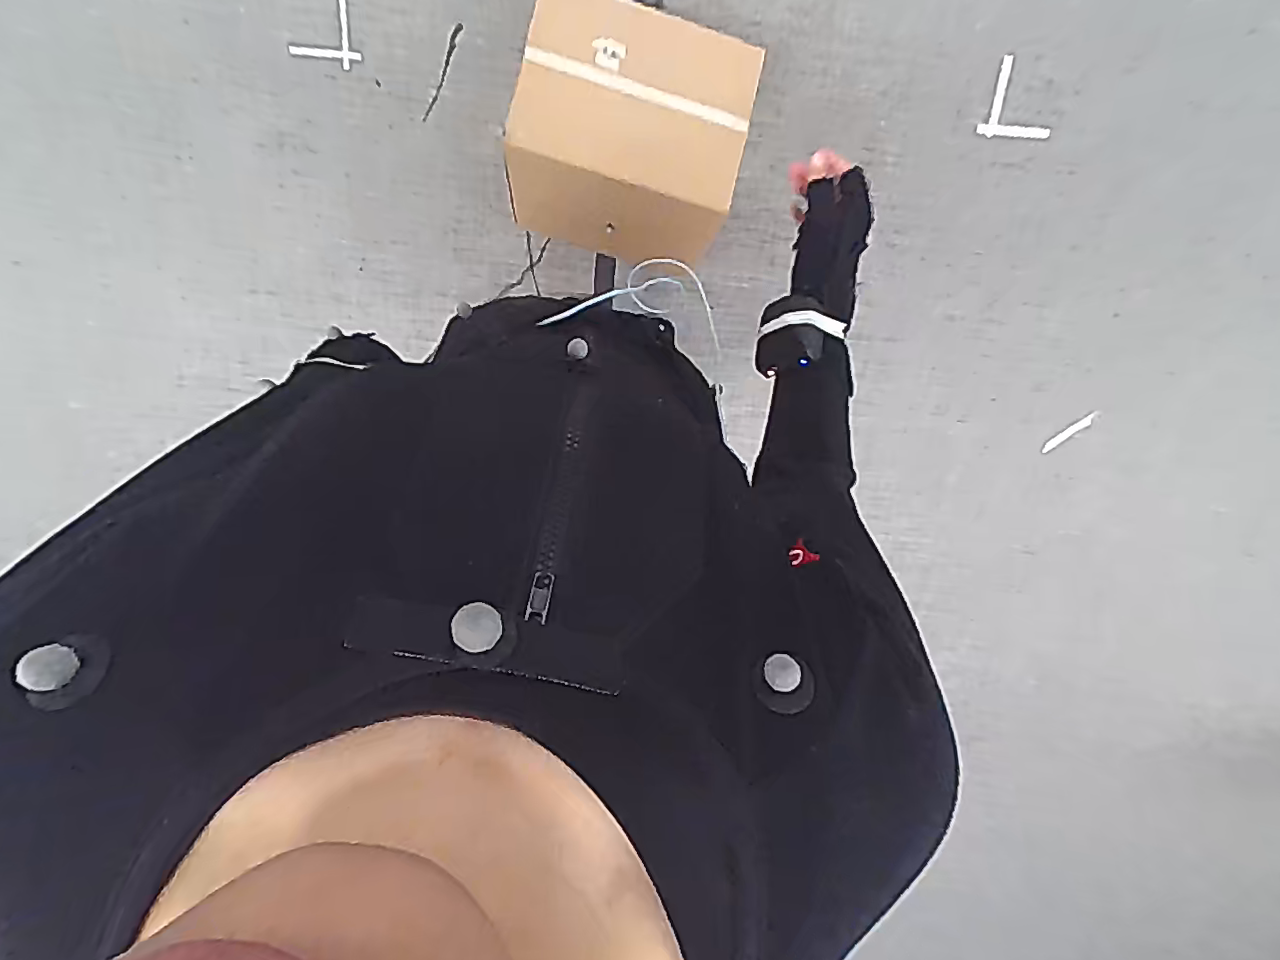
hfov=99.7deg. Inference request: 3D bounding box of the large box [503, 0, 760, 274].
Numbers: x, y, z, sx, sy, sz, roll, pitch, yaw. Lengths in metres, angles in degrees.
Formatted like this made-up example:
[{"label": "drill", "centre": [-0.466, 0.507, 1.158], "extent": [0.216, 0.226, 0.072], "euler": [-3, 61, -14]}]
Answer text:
[{"label": "large box", "centre": [-0.024, -0.664, 1.092], "extent": [0.408, 0.320, 0.320], "euler": [14, 87, -7]}]
